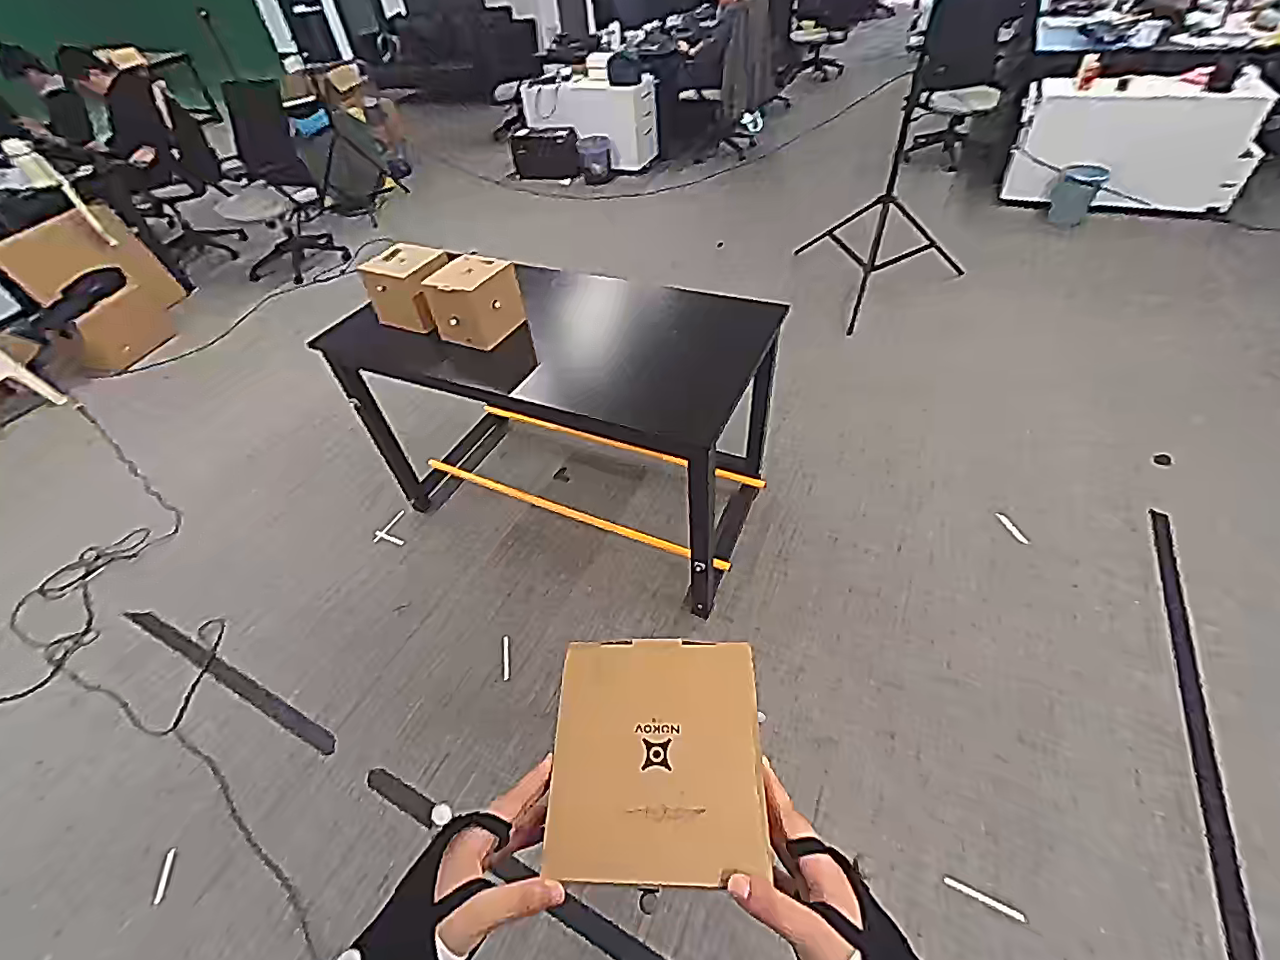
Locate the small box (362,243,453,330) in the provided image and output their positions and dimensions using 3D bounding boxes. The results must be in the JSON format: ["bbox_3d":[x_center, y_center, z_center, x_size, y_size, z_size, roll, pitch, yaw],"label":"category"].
[{"bbox_3d":[-0.632,-0.544,1.526,0.179,0.176,0.168,18,51,20],"label":"small box"}]

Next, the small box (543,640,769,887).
[{"bbox_3d":[0.018,0.262,0.498,0.168,0.176,0.179,-1,53,4],"label":"small box"}]

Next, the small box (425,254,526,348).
[{"bbox_3d":[-0.427,-0.474,1.441,0.168,0.176,0.179,18,51,21],"label":"small box"}]
